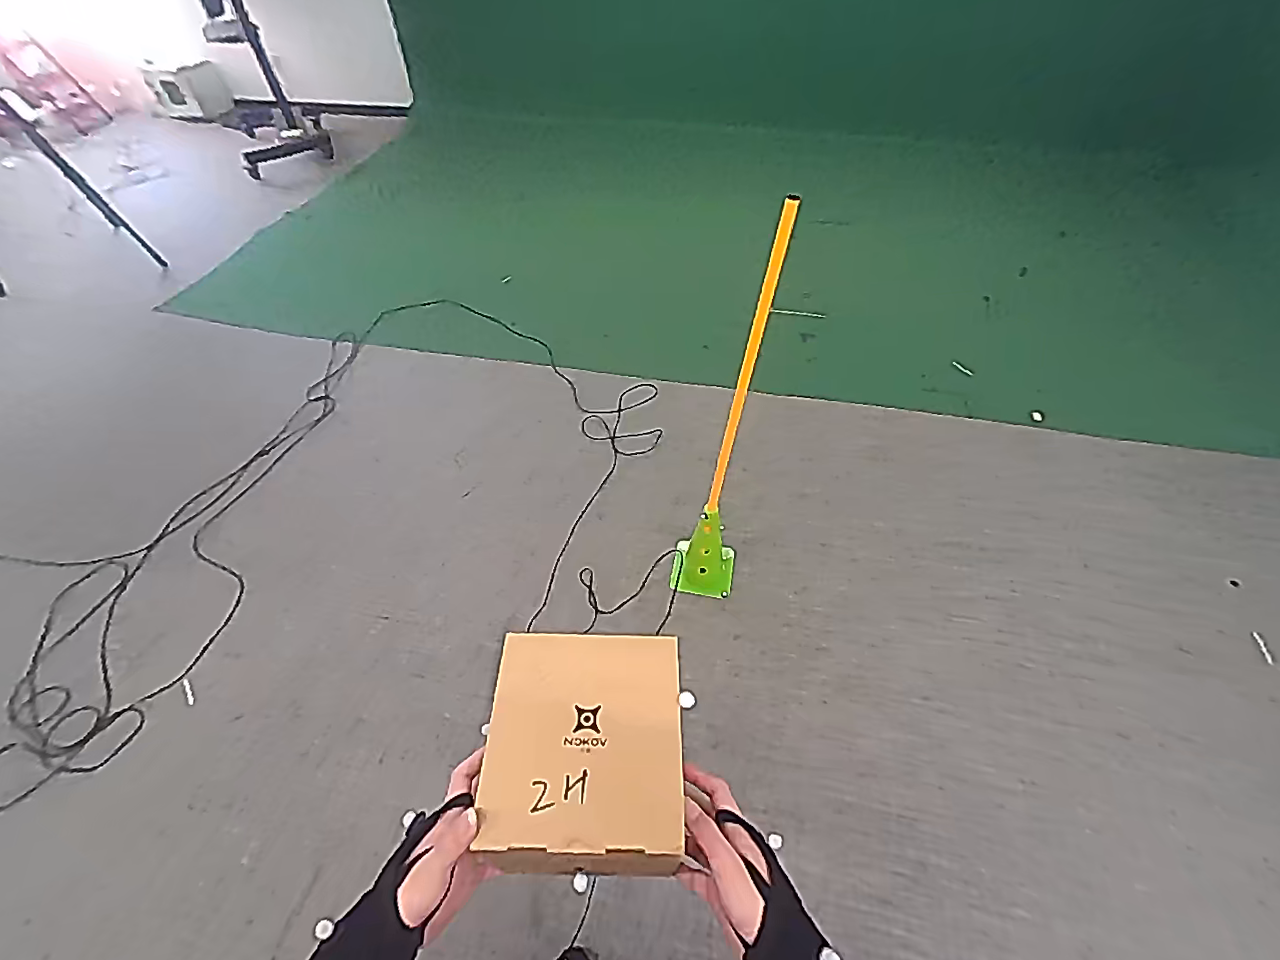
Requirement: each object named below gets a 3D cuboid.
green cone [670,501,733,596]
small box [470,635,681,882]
[{"bbox_3d":[0.207,0.188,1.716,0.202,0.368,0.200,8,51,9],"label":"green cone"},{"bbox_3d":[-0.050,0.273,0.528,0.168,0.176,0.179,2,49,0],"label":"small box"}]
